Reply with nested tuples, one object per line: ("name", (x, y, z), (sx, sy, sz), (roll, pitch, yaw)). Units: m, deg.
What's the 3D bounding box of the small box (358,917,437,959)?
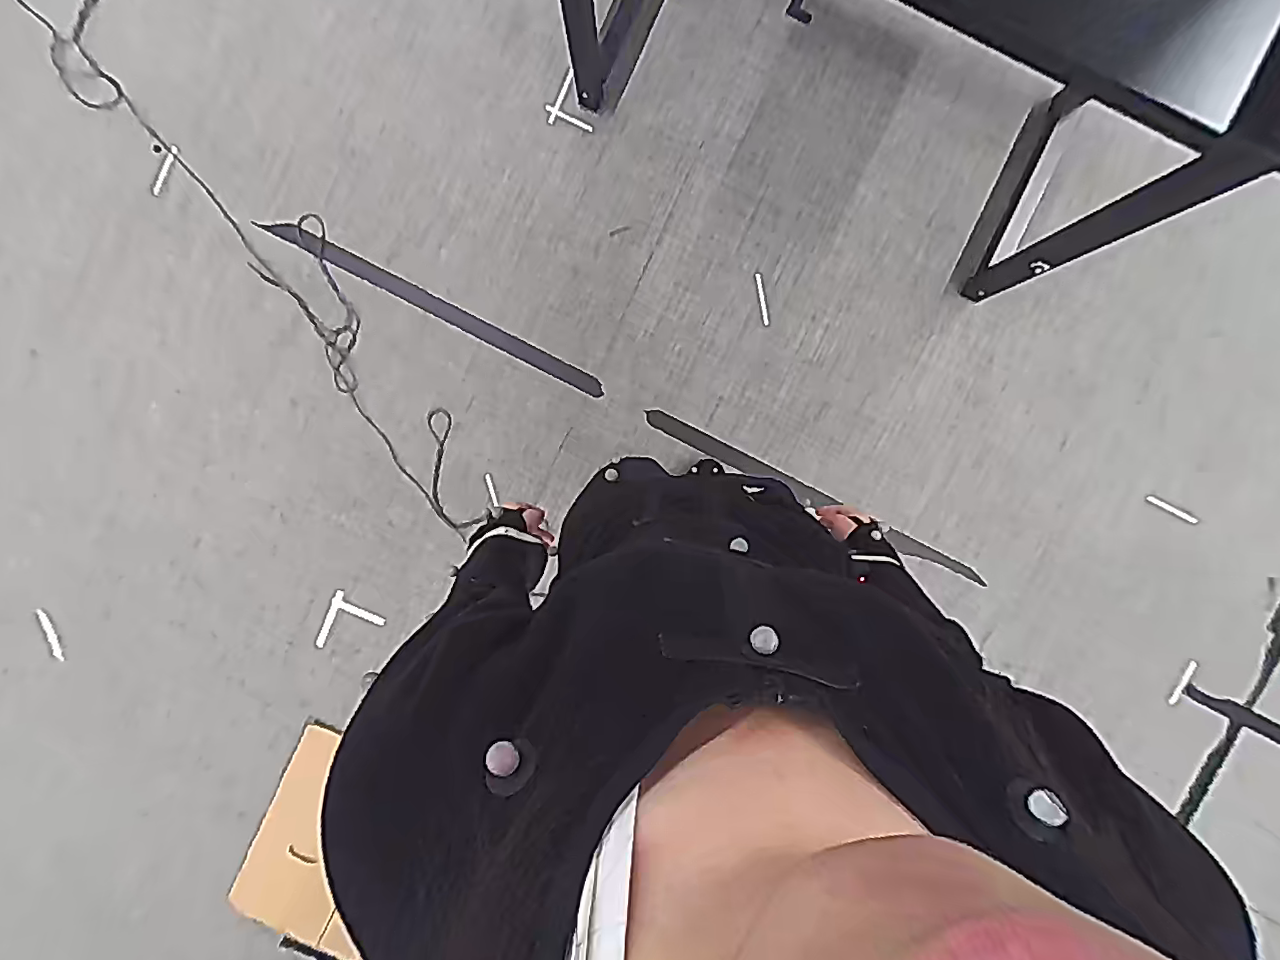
("small box", (-0.677, 1.326, 1.482), (0.168, 0.176, 0.179), (19, 93, -1))
